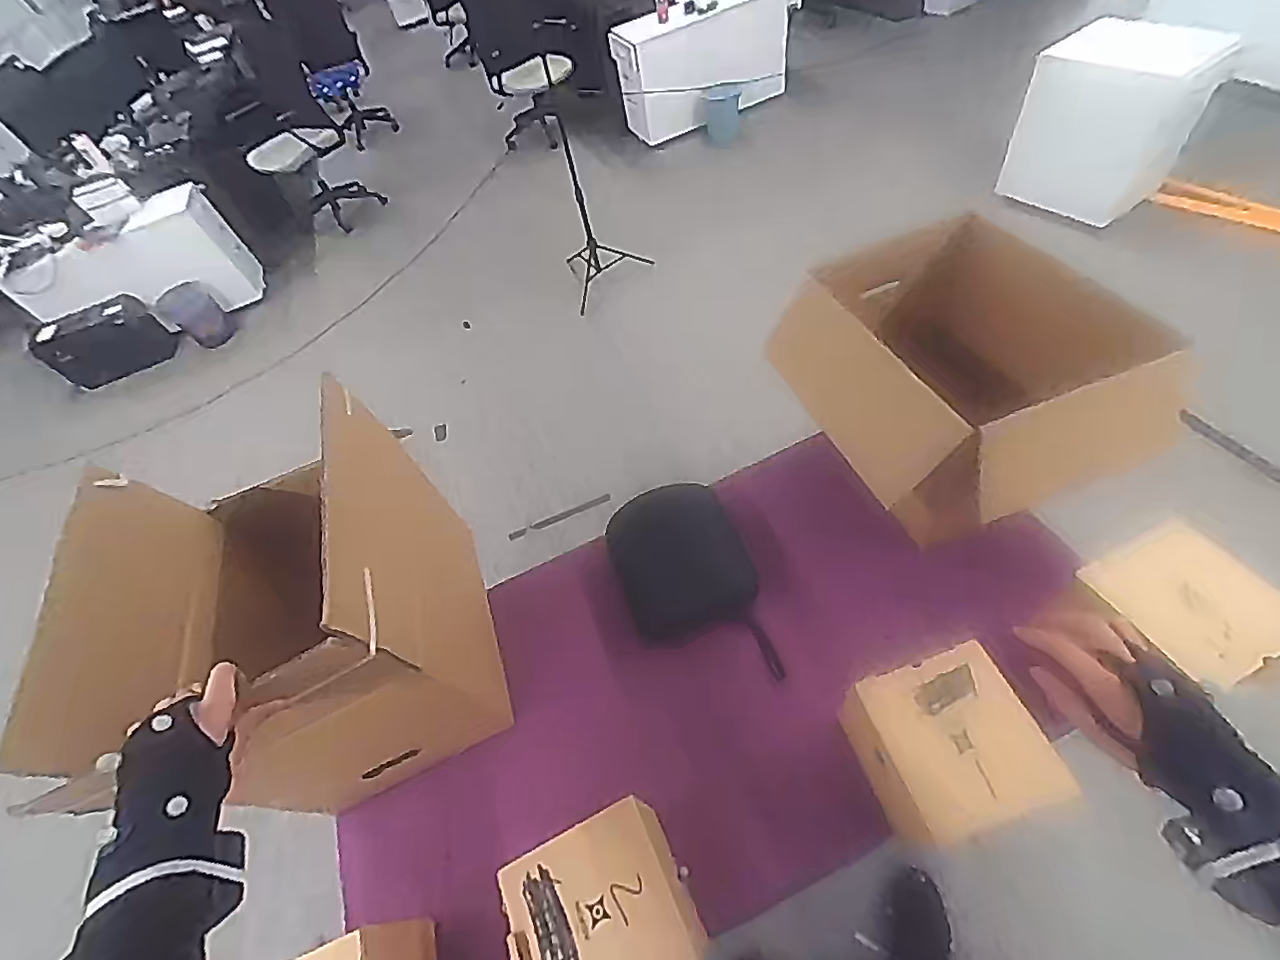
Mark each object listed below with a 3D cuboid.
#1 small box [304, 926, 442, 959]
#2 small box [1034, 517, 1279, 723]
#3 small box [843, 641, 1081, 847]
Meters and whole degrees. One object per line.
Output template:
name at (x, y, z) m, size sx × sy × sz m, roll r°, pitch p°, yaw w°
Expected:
small box at (-0.342, 0.645, 0.616) m, size 0.179 × 0.176 × 0.168 m, roll -23°, pitch 52°, yaw -5°
small box at (0.673, 0.187, 0.708) m, size 0.168 × 0.176 × 0.179 m, roll -26°, pitch 53°, yaw -5°
small box at (0.375, 0.333, 0.675) m, size 0.168 × 0.176 × 0.179 m, roll -20°, pitch 54°, yaw -1°
